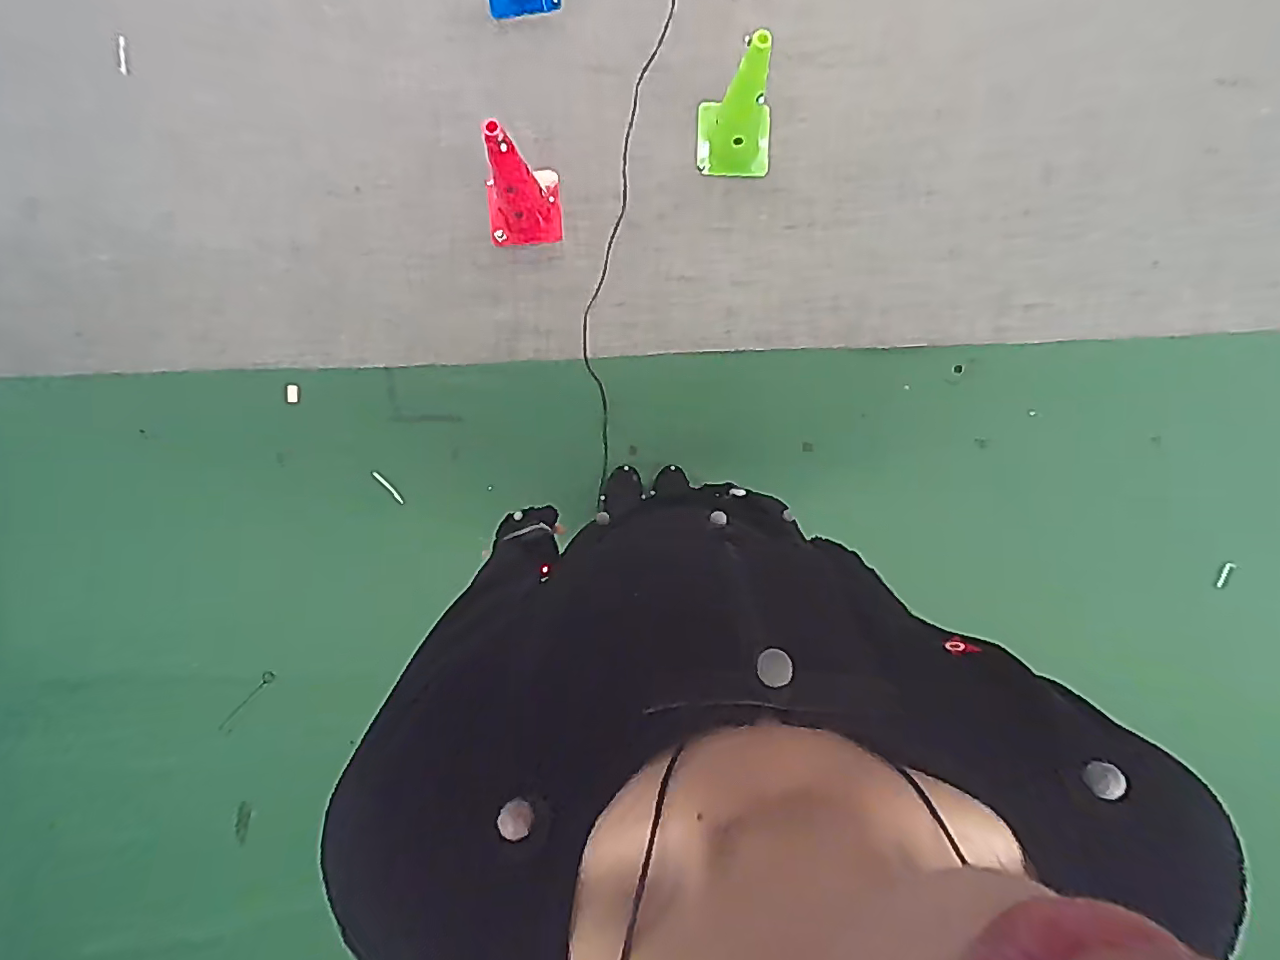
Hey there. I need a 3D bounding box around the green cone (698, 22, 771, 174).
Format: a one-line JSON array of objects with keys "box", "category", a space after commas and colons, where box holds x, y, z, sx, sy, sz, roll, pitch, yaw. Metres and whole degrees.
[{"box": [0.262, -0.951, 1.329, 0.200, 0.368, 0.202, 0, 90, -1], "category": "green cone"}]
